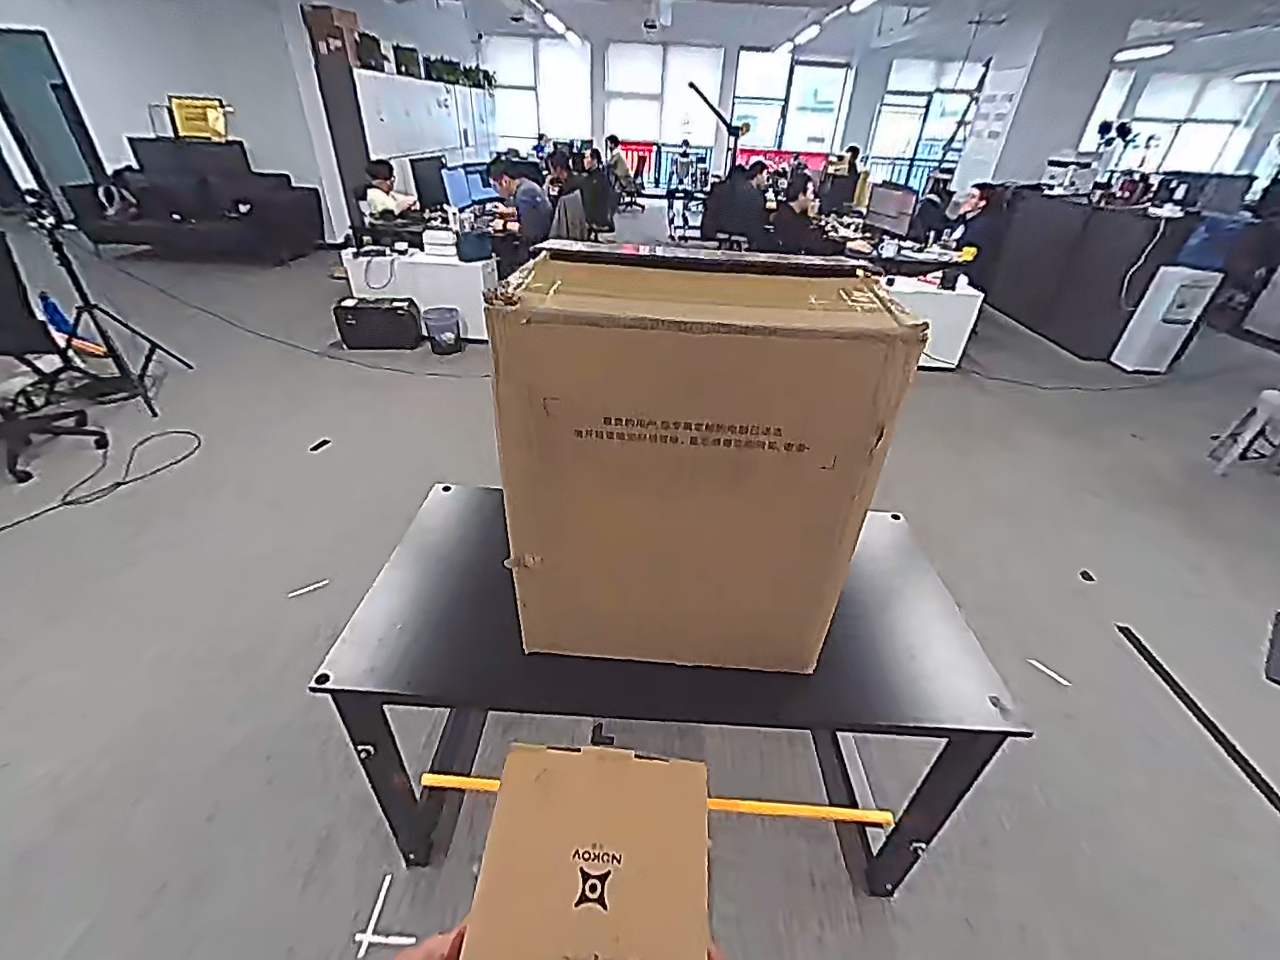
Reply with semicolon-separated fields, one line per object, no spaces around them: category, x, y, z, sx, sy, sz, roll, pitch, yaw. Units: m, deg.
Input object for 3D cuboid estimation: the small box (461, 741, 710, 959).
small box;-0.037;0.341;0.444;0.168;0.176;0.179;5;47;1
